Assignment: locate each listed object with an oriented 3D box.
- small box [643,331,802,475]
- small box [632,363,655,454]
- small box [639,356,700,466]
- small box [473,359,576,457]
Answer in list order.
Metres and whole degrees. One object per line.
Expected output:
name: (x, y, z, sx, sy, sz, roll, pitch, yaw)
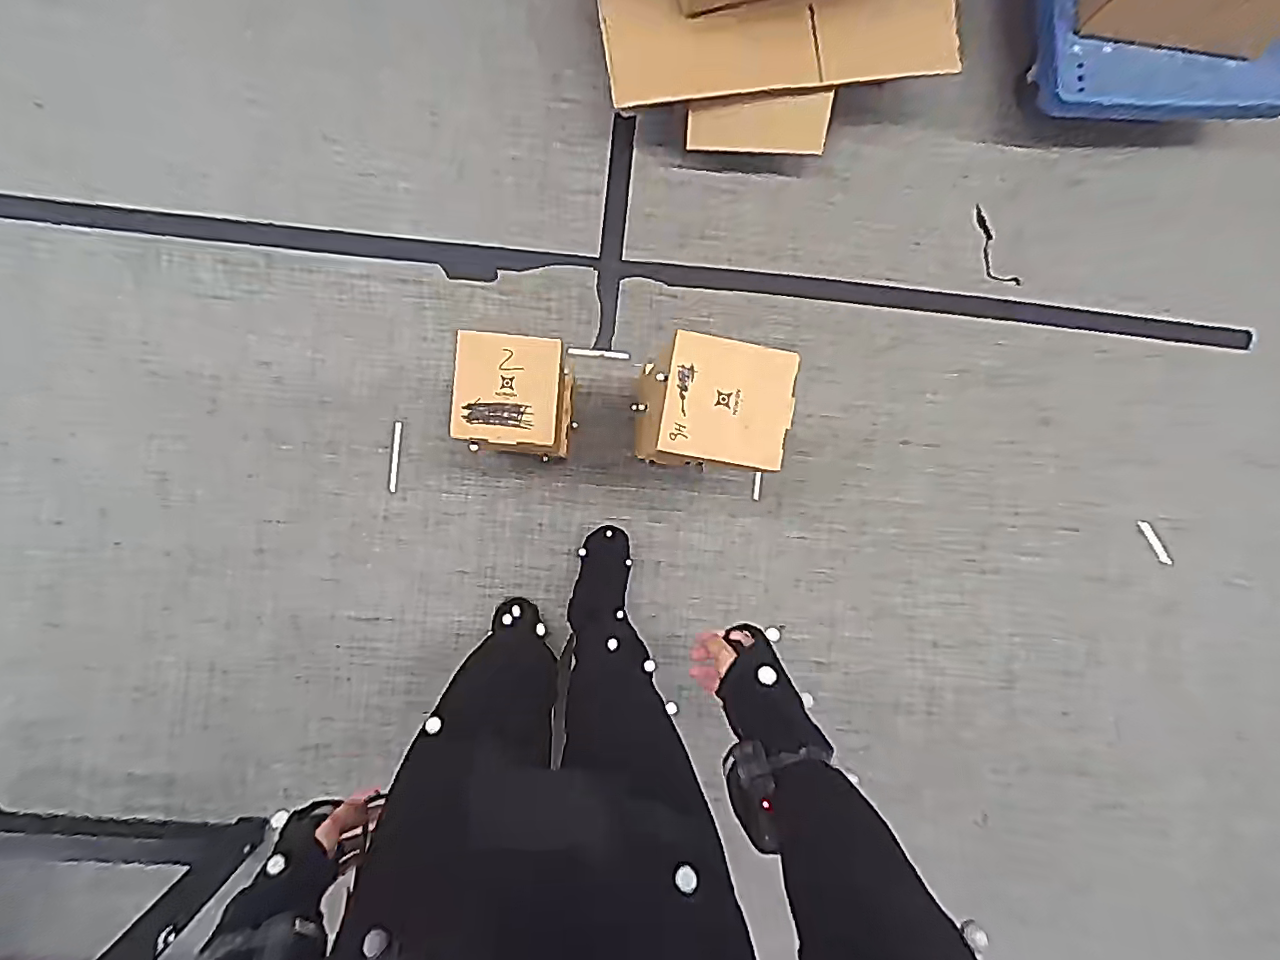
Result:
small box: (0.112, -0.106, 0.804, 0.179, 0.176, 0.168, 10, 90, -7)
small box: (0.076, -0.134, 1.130, 0.168, 0.176, 0.179, 5, 90, -6)
small box: (0.096, -0.113, 0.967, 0.179, 0.176, 0.168, 7, 91, -7)
small box: (-0.226, -0.138, 1.101, 0.179, 0.176, 0.168, 6, 90, -6)
